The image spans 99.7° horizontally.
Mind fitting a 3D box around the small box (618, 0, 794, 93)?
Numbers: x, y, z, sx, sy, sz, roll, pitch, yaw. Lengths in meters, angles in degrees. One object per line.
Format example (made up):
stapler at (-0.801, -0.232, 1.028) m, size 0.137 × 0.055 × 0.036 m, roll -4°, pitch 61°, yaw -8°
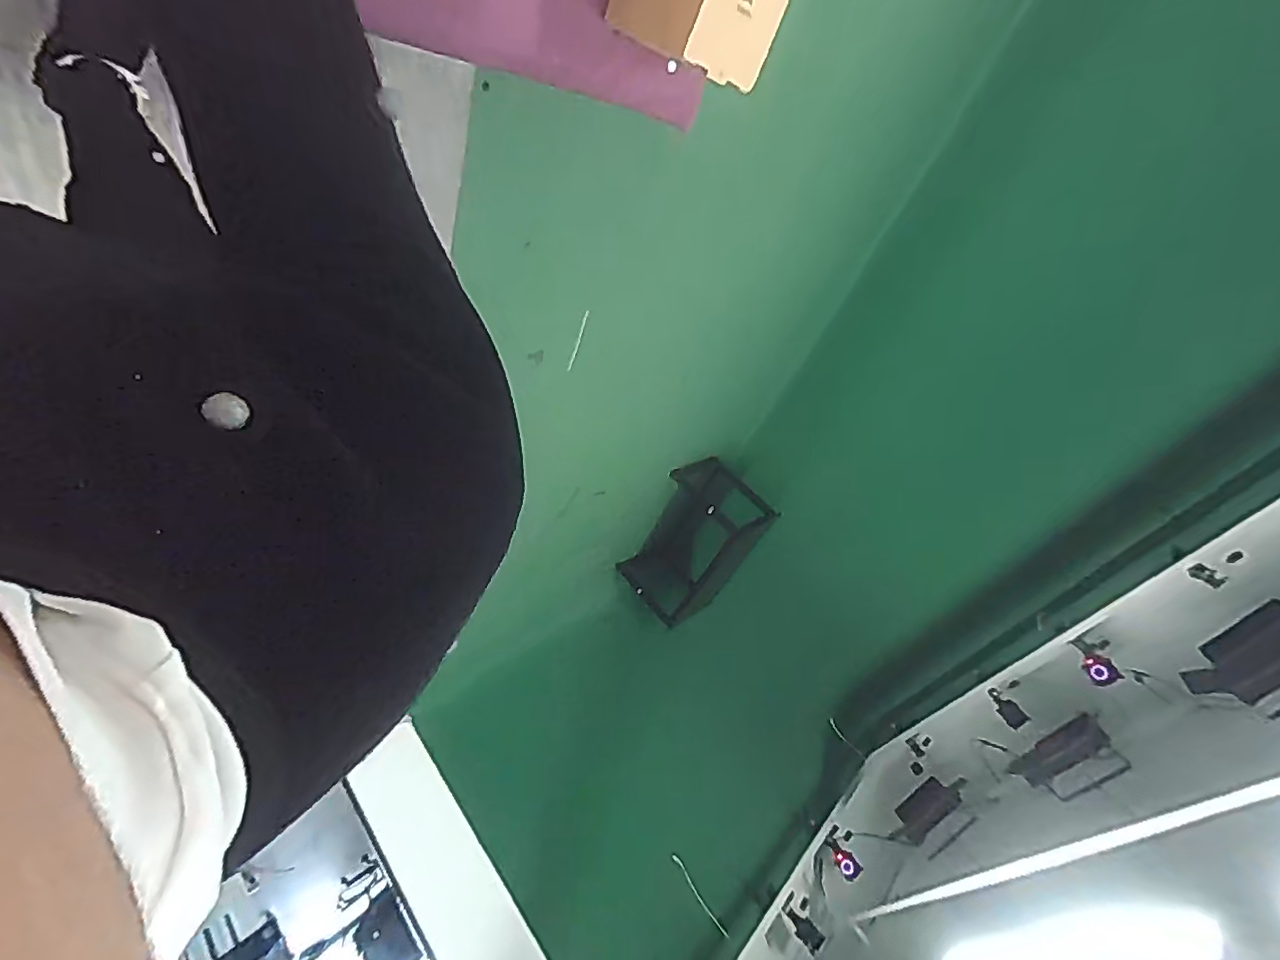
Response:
small box at (0.092, -0.676, 0.733) m, size 0.168 × 0.176 × 0.179 m, roll -18°, pitch 145°, yaw -45°
